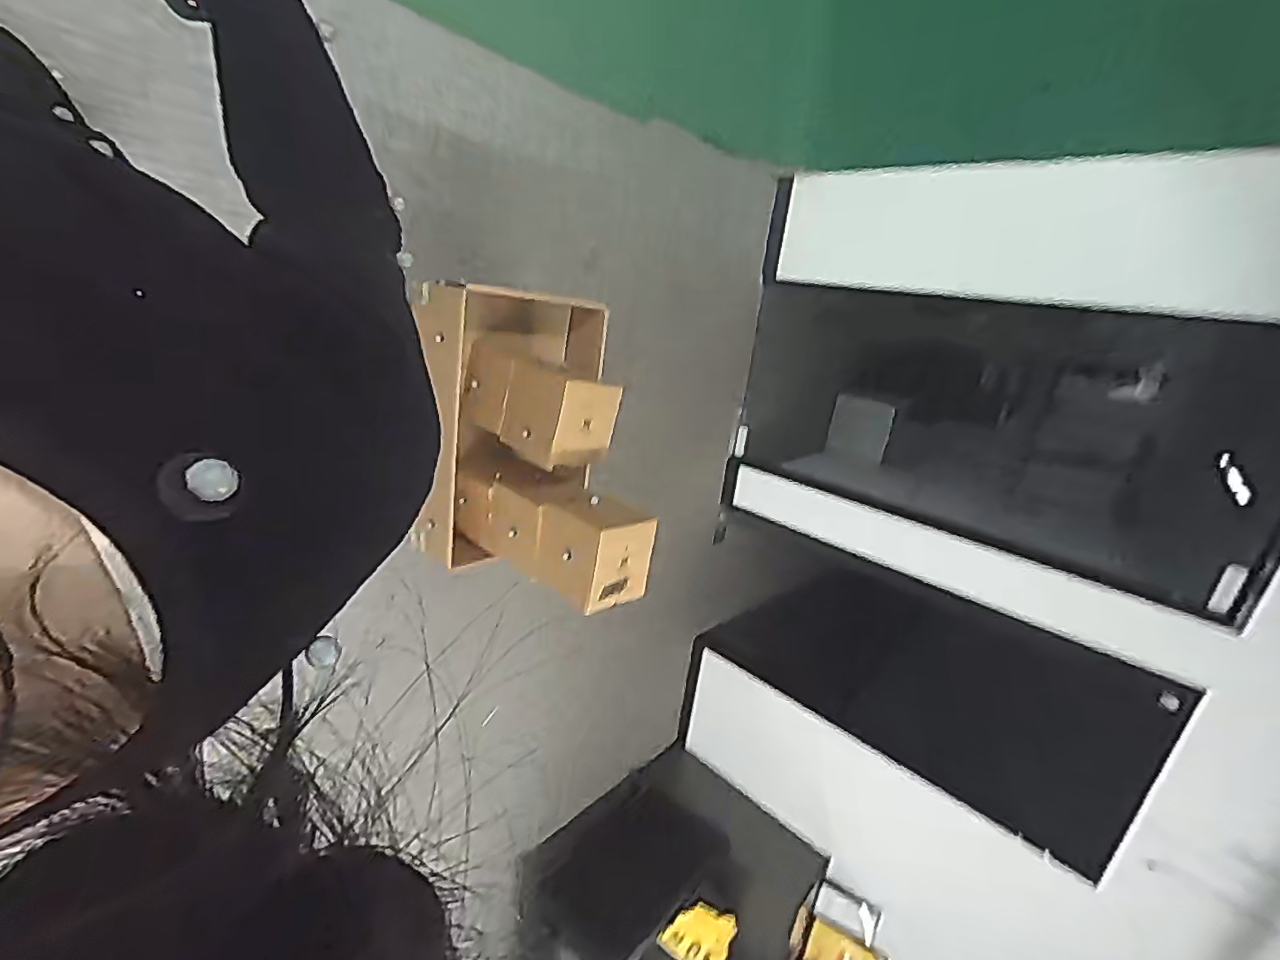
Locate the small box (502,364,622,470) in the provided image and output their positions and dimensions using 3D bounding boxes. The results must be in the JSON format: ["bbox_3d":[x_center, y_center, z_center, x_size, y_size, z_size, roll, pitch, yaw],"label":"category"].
[{"bbox_3d":[-0.170,-0.131,1.147,0.168,0.176,0.179,-2,112,-51],"label":"small box"}]

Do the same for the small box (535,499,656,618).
[{"bbox_3d":[-0.096,0.151,1.108,0.168,0.176,0.179,-5,111,-48],"label":"small box"}]
